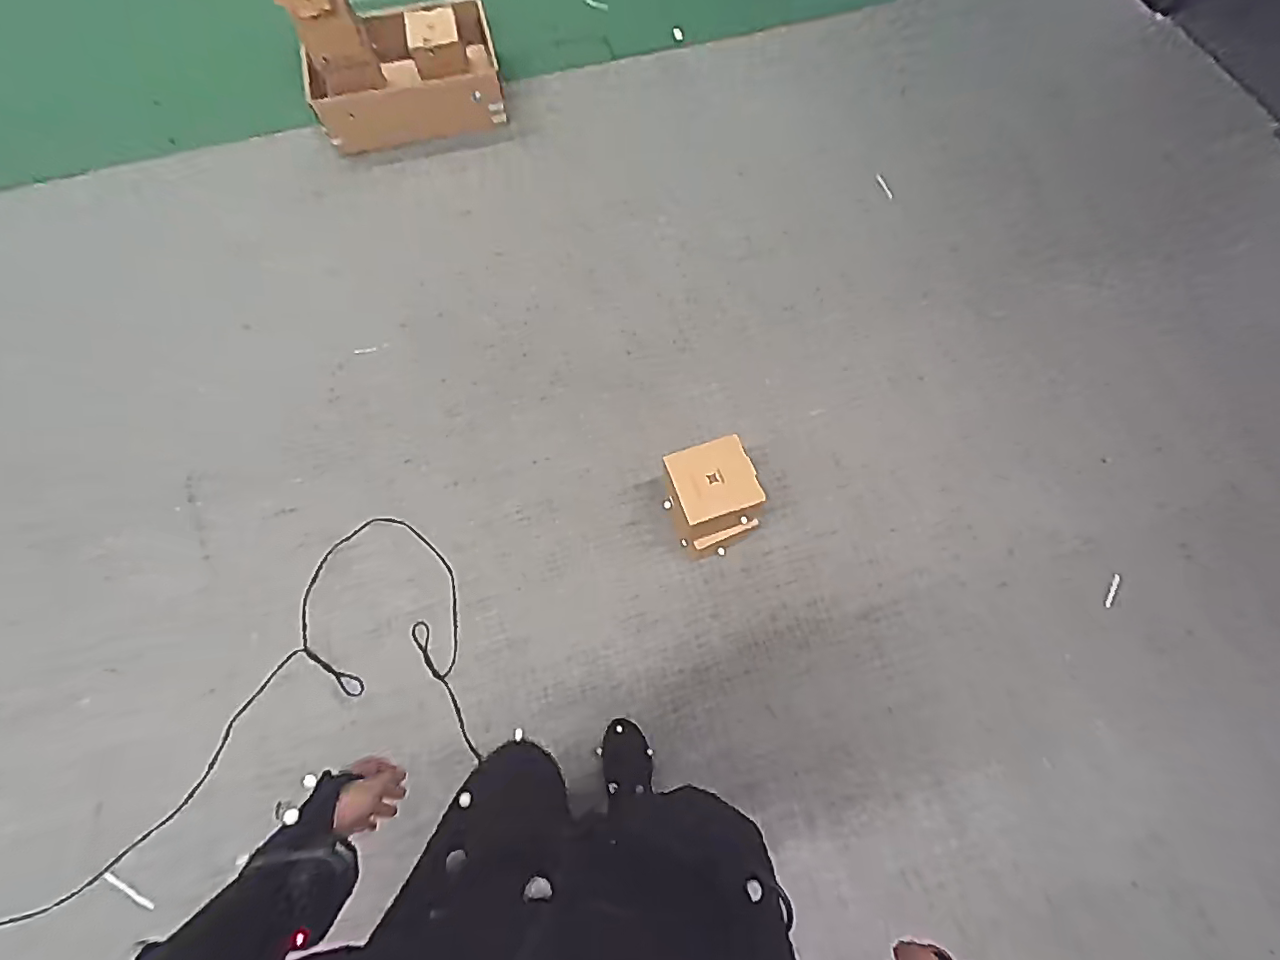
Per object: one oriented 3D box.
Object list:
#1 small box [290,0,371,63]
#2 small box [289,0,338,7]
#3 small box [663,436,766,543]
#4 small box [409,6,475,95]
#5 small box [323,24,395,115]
[{"bbox_3d":[-0.956,-1.429,1.671,0.168,0.176,0.179,-15,71,-7],"label":"small box"},{"bbox_3d":[-0.949,-1.477,1.516,0.168,0.176,0.179,6,70,1],"label":"small box"},{"bbox_3d":[0.160,0.027,1.227,0.179,0.176,0.168,-18,71,-6],"label":"small box"},{"bbox_3d":[-0.681,-1.480,1.867,0.168,0.176,0.179,-11,72,-4],"label":"small box"},{"bbox_3d":[-0.956,-1.387,1.830,0.168,0.176,0.179,-17,72,-6],"label":"small box"}]
